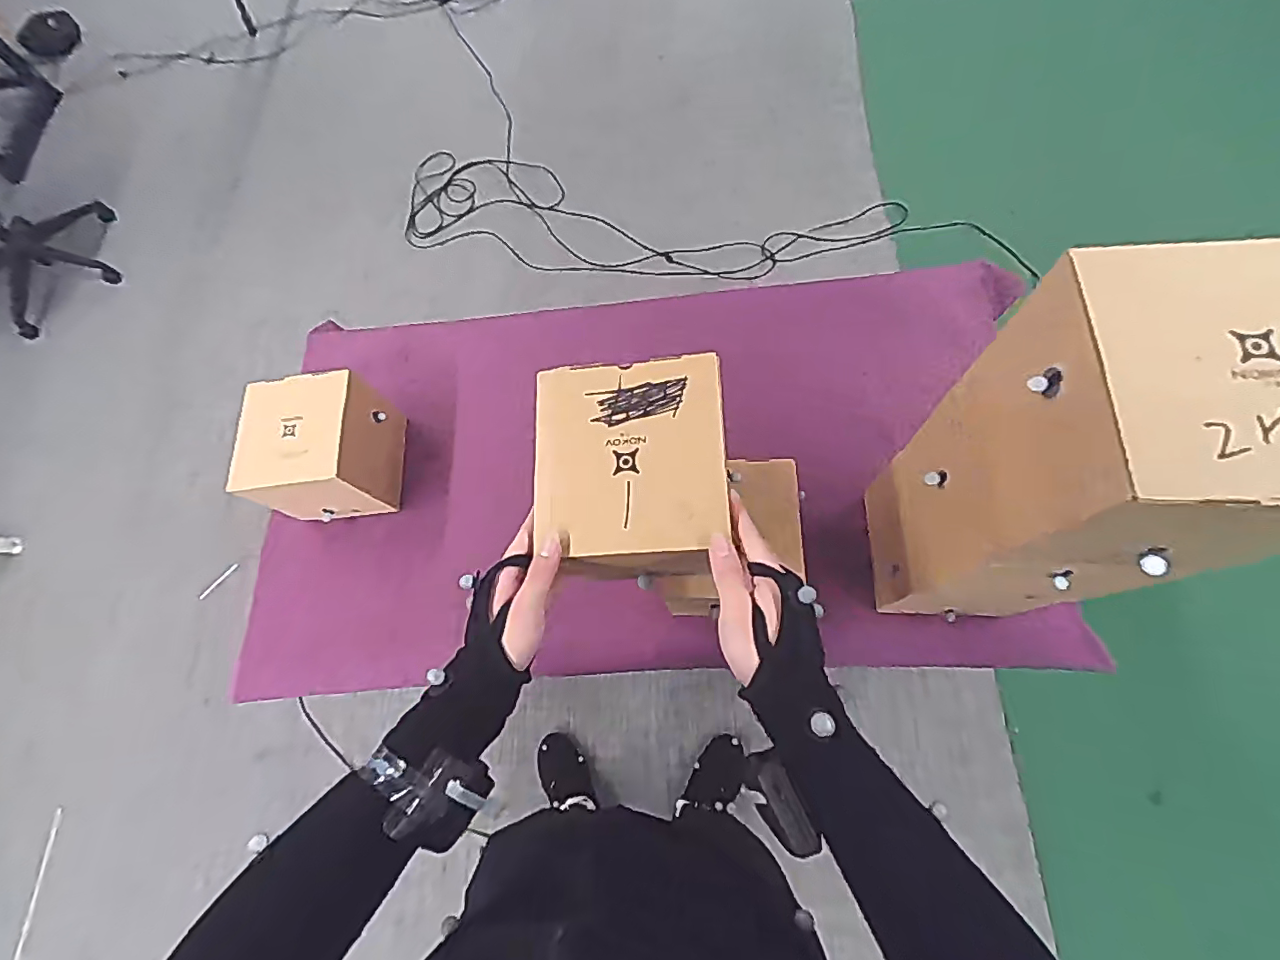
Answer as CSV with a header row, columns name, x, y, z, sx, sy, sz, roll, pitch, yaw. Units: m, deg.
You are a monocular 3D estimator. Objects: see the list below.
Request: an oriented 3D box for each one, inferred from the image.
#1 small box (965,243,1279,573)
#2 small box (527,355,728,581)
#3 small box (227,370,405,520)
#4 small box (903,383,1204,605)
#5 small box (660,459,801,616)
name,x,y,z,sx,sy,sz,roll,pitch,yaw
small box,0.359,-0.039,0.386,0.168,0.176,0.179,1,70,9
small box,-0.001,0.001,0.535,0.168,0.176,0.179,-4,73,9
small box,-0.492,-0.048,0.852,0.168,0.176,0.179,-6,70,5
small box,0.379,0.020,0.539,0.168,0.176,0.179,0,69,8
small box,0.117,0.086,0.727,0.168,0.176,0.179,-2,68,7
